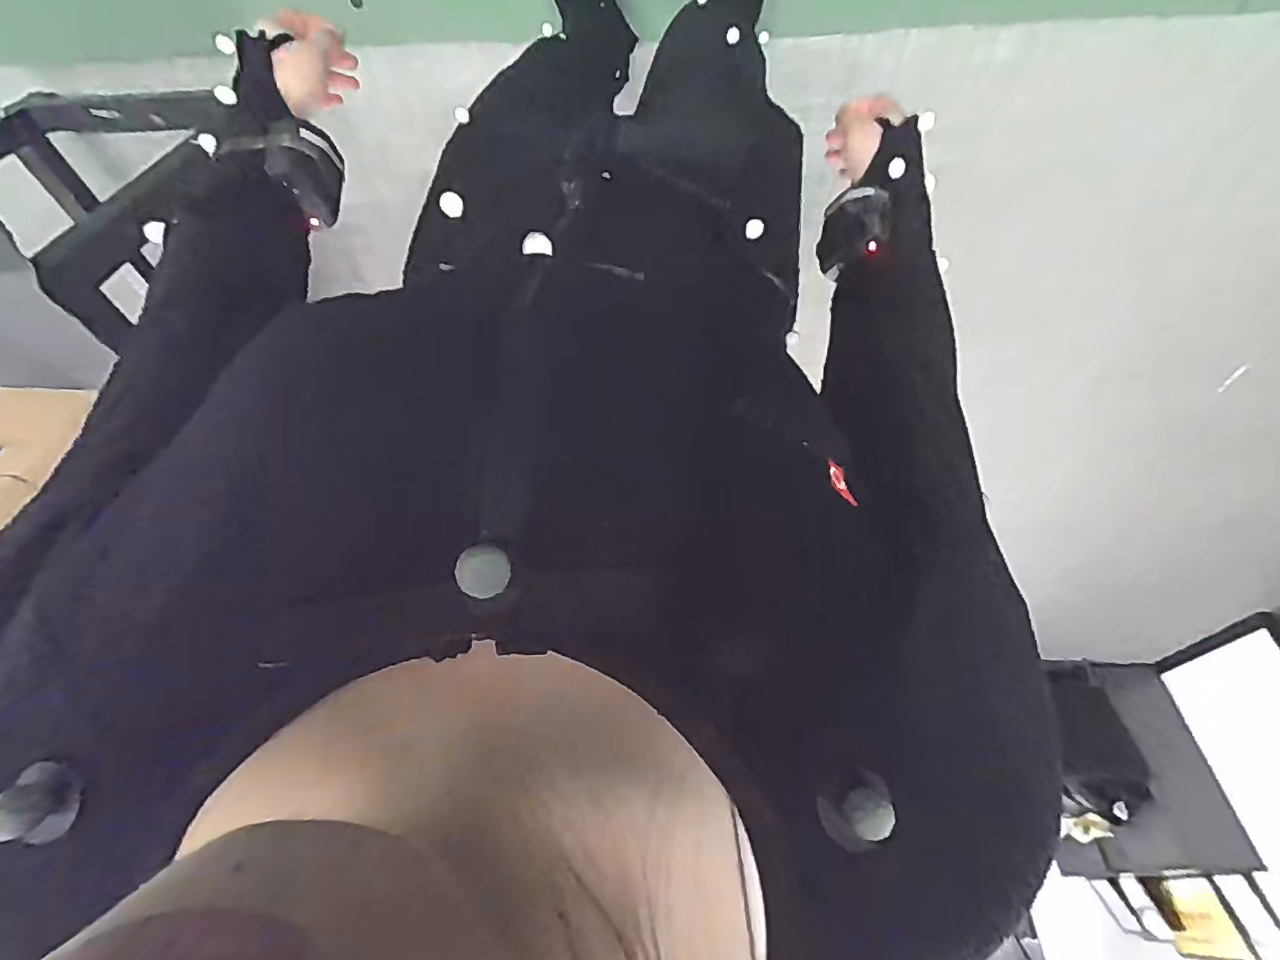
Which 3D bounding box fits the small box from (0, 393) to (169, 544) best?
[{"bbox_3d":[-0.879,-0.017,0.823,0.179,0.176,0.168,3,144,5],"label":"small box"}]
